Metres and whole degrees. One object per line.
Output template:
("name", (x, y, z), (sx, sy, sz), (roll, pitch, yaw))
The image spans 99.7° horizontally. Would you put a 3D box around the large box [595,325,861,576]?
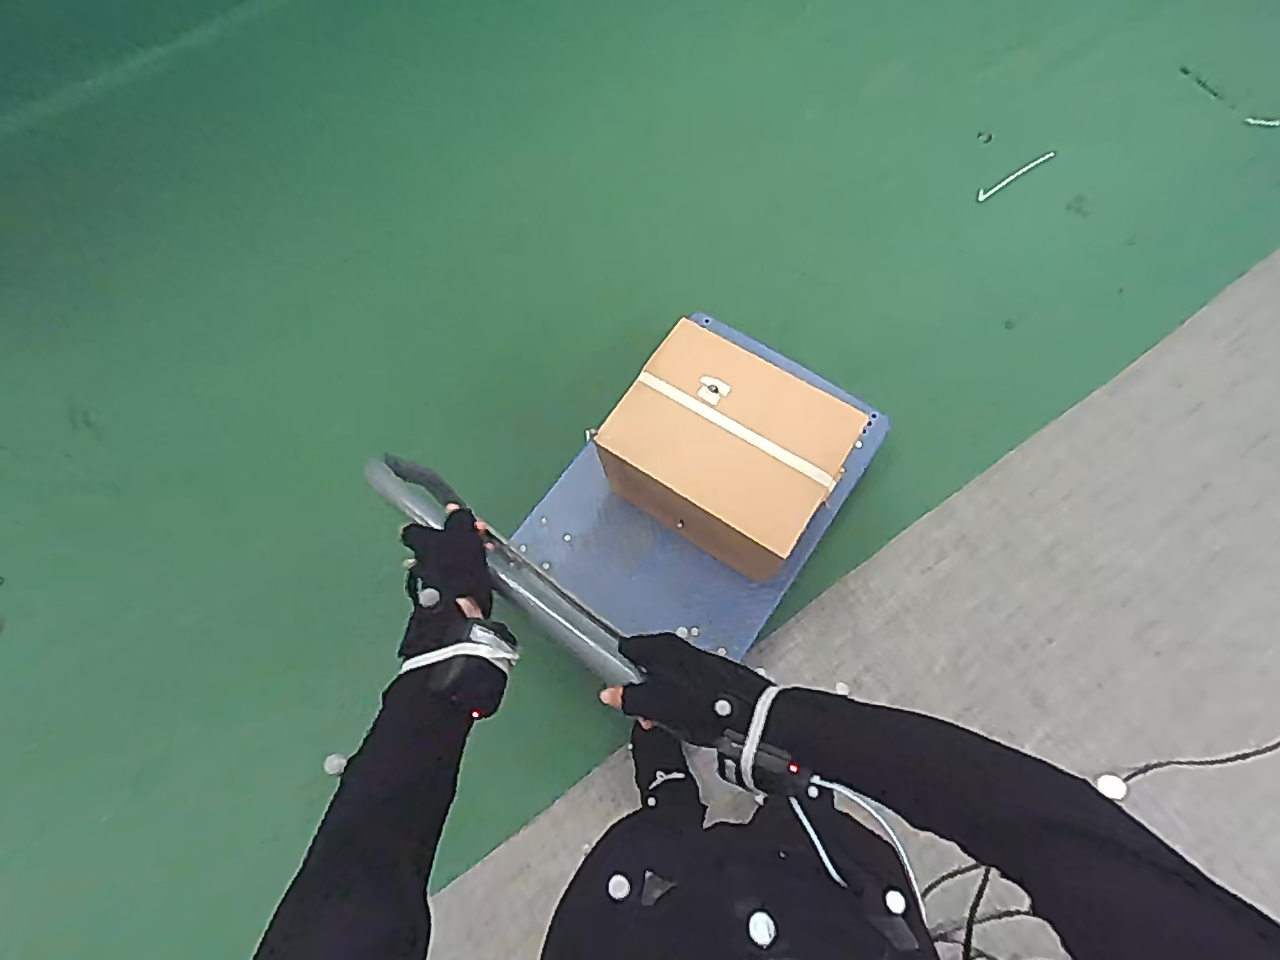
("large box", (0.175, -0.046, 1.142), (0.408, 0.320, 0.320), (32, 76, 14))
